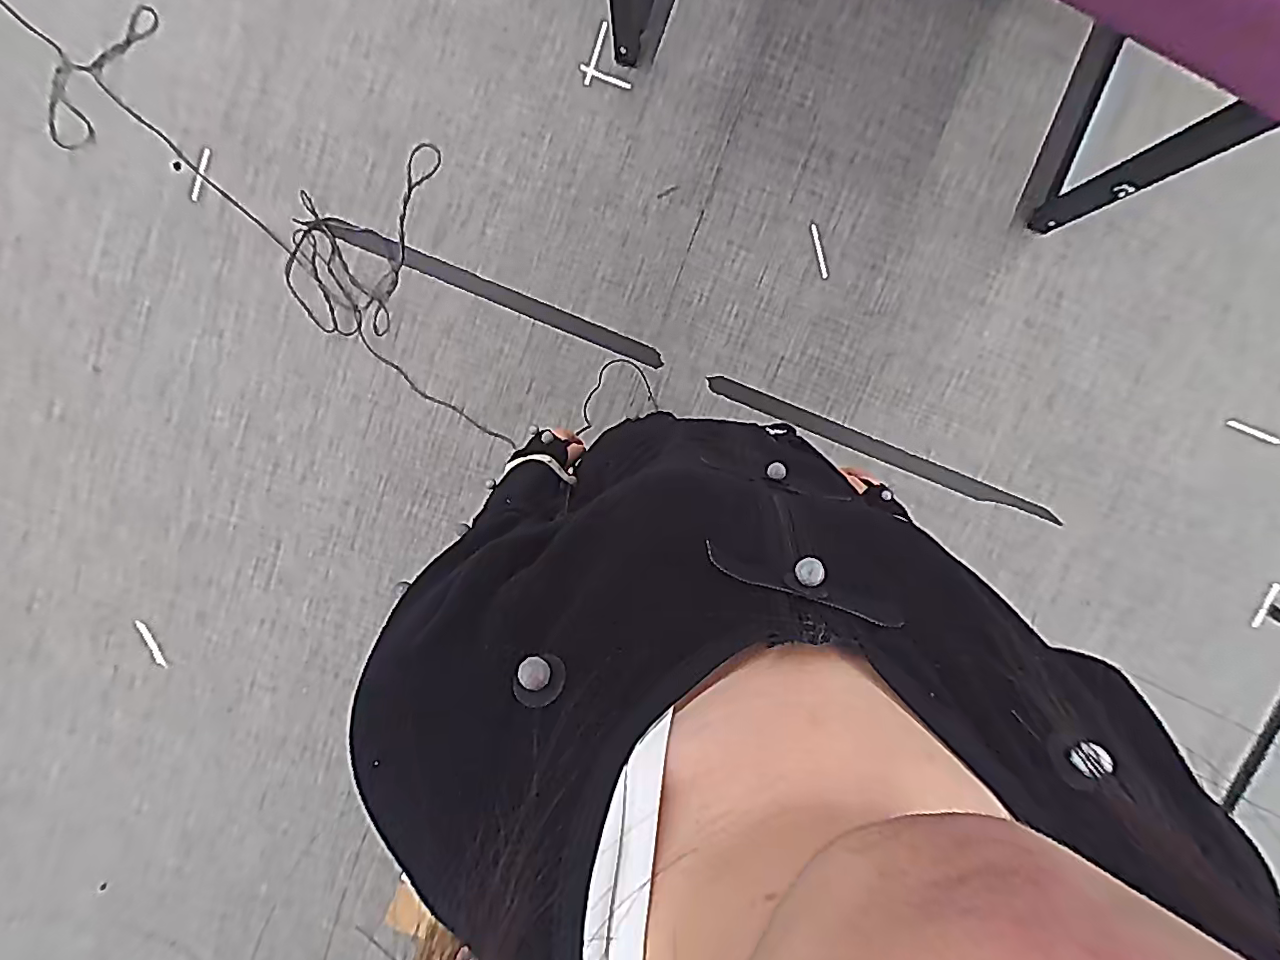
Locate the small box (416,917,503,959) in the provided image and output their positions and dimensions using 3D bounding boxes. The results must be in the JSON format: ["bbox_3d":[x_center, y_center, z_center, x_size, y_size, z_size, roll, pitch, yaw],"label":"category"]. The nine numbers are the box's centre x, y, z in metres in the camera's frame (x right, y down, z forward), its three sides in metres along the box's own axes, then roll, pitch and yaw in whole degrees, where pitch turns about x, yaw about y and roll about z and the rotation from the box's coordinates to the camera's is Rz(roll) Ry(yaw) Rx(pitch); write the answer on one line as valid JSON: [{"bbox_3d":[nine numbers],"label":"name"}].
[{"bbox_3d":[-0.390,1.045,1.093,0.168,0.176,0.179,18,98,-1],"label":"small box"}]
